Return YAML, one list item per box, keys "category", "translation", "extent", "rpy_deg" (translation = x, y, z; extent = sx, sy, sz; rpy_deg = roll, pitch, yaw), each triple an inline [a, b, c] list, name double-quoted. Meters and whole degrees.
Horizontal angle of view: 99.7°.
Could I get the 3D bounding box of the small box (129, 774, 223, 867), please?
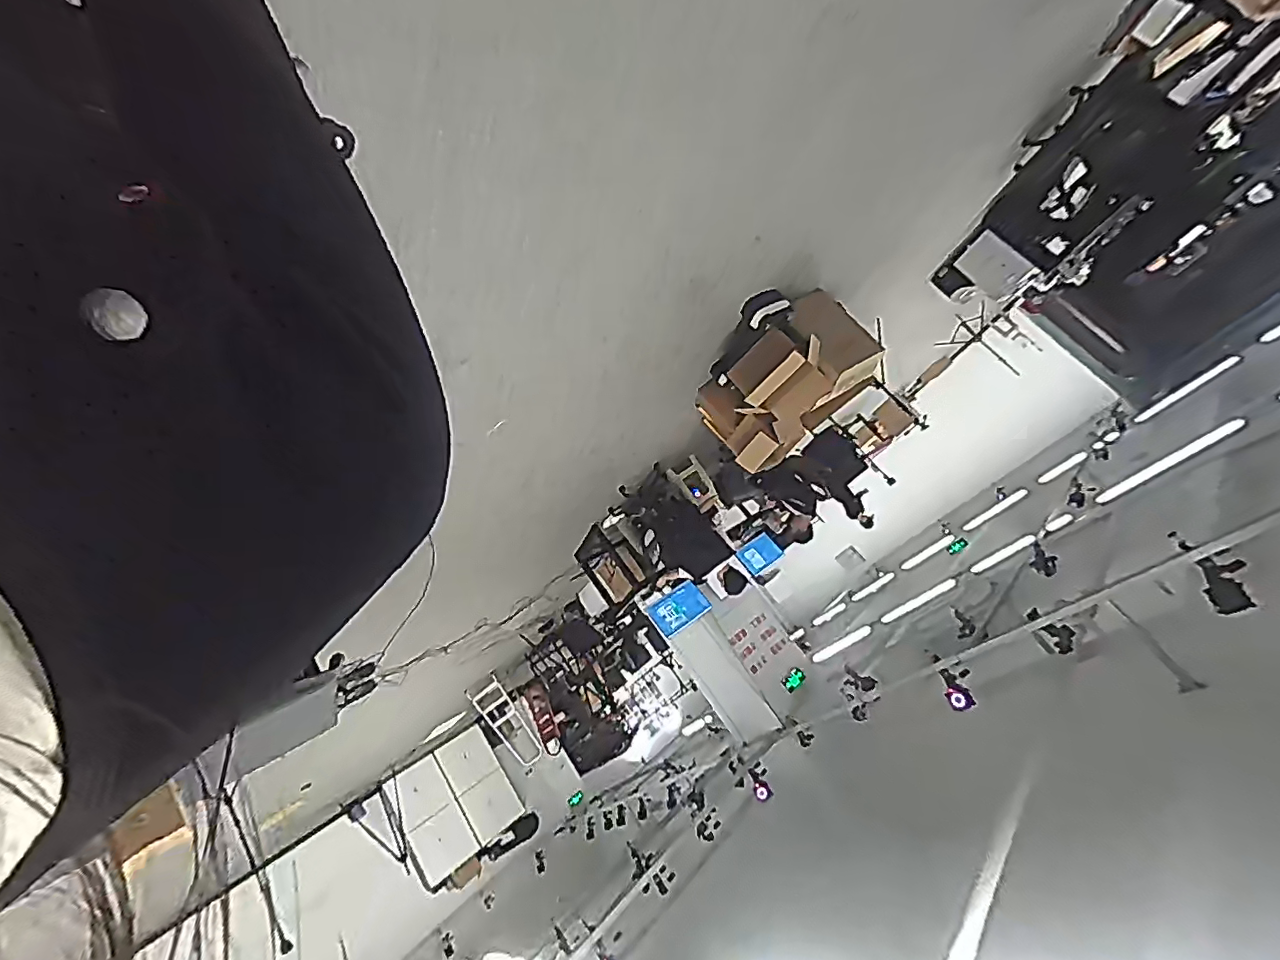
- category: "small box"
  translation: [-1.412, 1.032, 1.648]
  extent: [0.168, 0.176, 0.179]
  rpy_deg: [-22, 157, -40]
